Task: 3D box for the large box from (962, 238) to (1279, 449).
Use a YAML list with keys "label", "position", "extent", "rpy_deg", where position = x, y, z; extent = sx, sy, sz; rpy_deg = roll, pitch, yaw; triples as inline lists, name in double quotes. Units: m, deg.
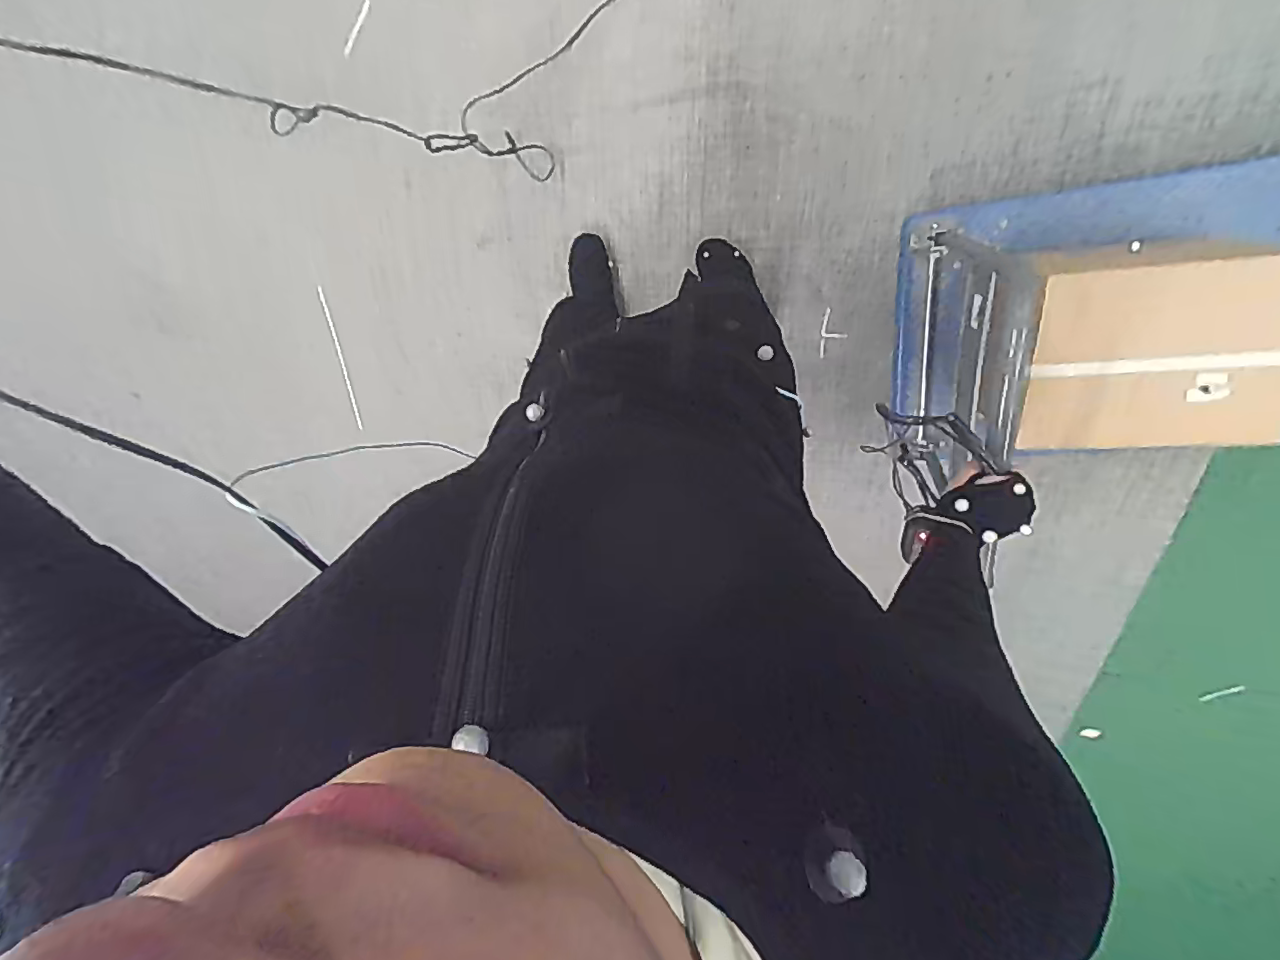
- label: "large box"
  position: [0.893, -0.265, 1.027]
  extent: [0.408, 0.320, 0.320]
  rpy_deg: [-1, 118, 13]
